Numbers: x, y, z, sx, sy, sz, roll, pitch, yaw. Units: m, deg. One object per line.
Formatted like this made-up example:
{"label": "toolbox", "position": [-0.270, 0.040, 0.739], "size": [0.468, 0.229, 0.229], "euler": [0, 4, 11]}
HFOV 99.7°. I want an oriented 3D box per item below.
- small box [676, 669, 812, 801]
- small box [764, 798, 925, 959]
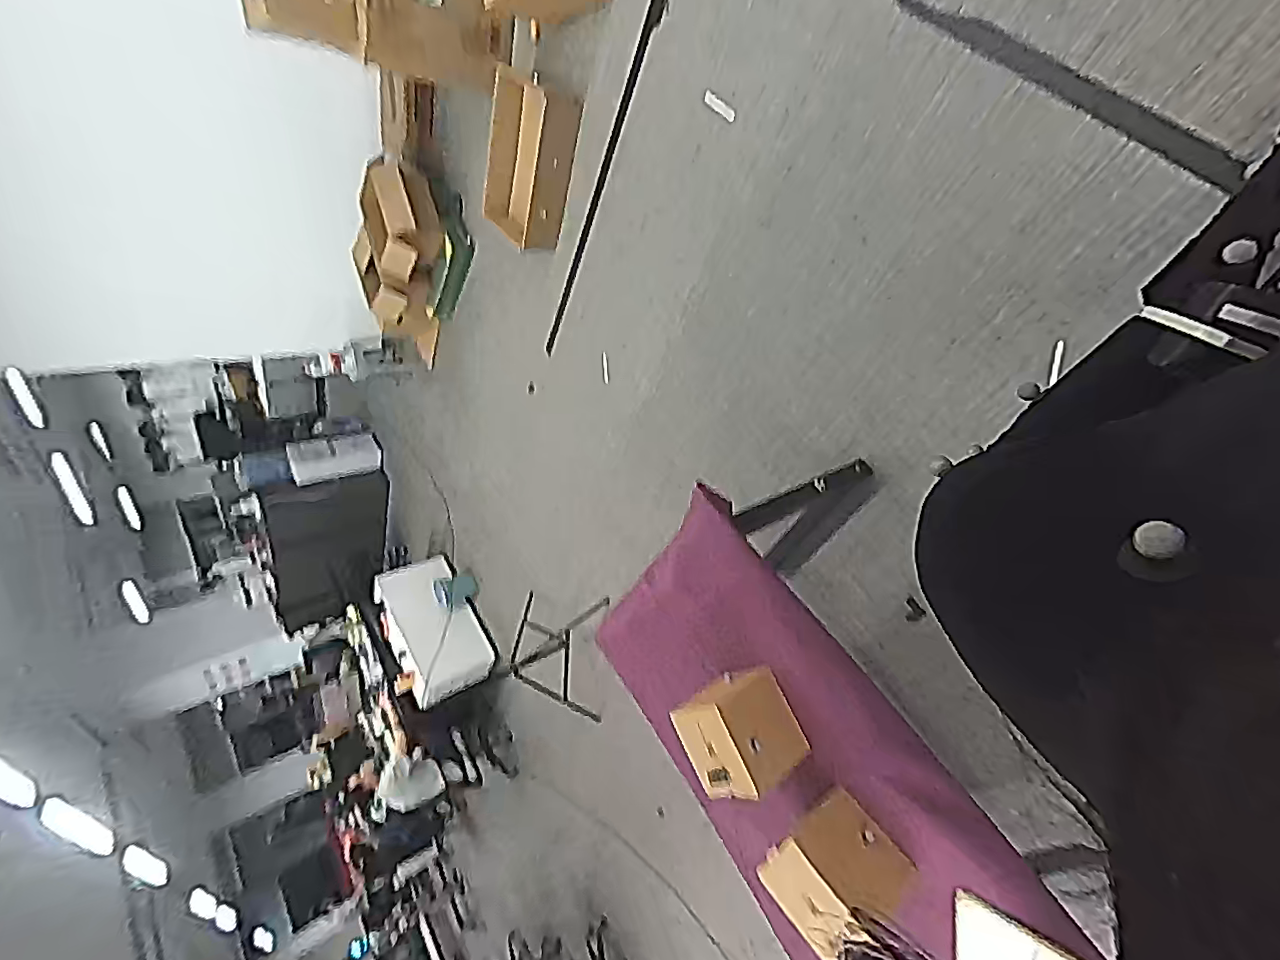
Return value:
{"label": "small box", "position": [0.209, 0.508, 1.084], "size": [0.168, 0.176, 0.179], "euler": [-42, 70, 50]}
{"label": "small box", "position": [0.364, 0.711, 0.971], "size": [0.179, 0.176, 0.168], "euler": [44, 134, 33]}
